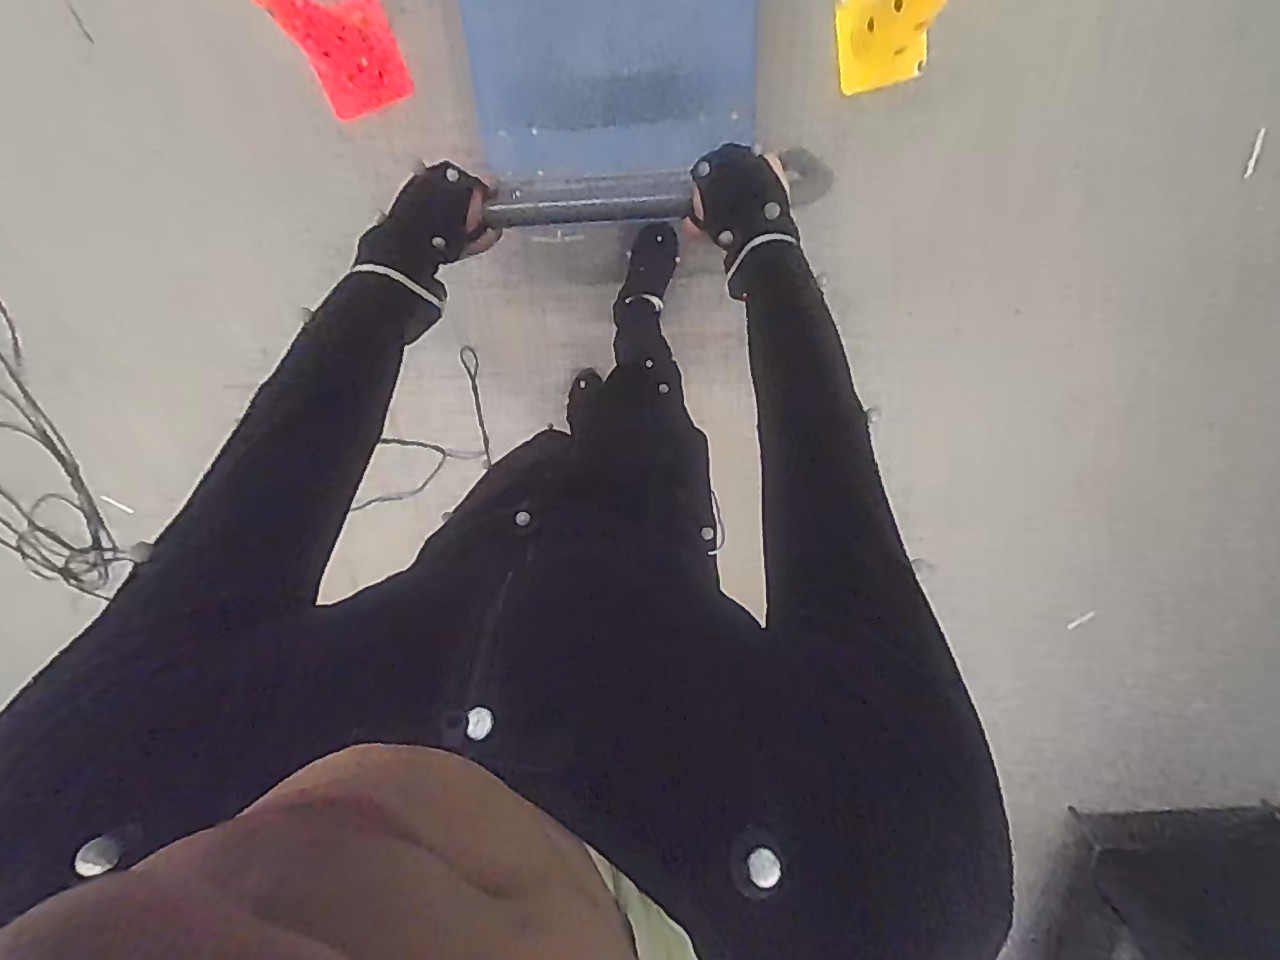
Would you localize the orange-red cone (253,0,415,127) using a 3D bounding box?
[{"bbox_3d":[-0.632,-0.869,1.067,0.199,0.360,0.198,-15,111,7],"label":"orange-red cone"}]
